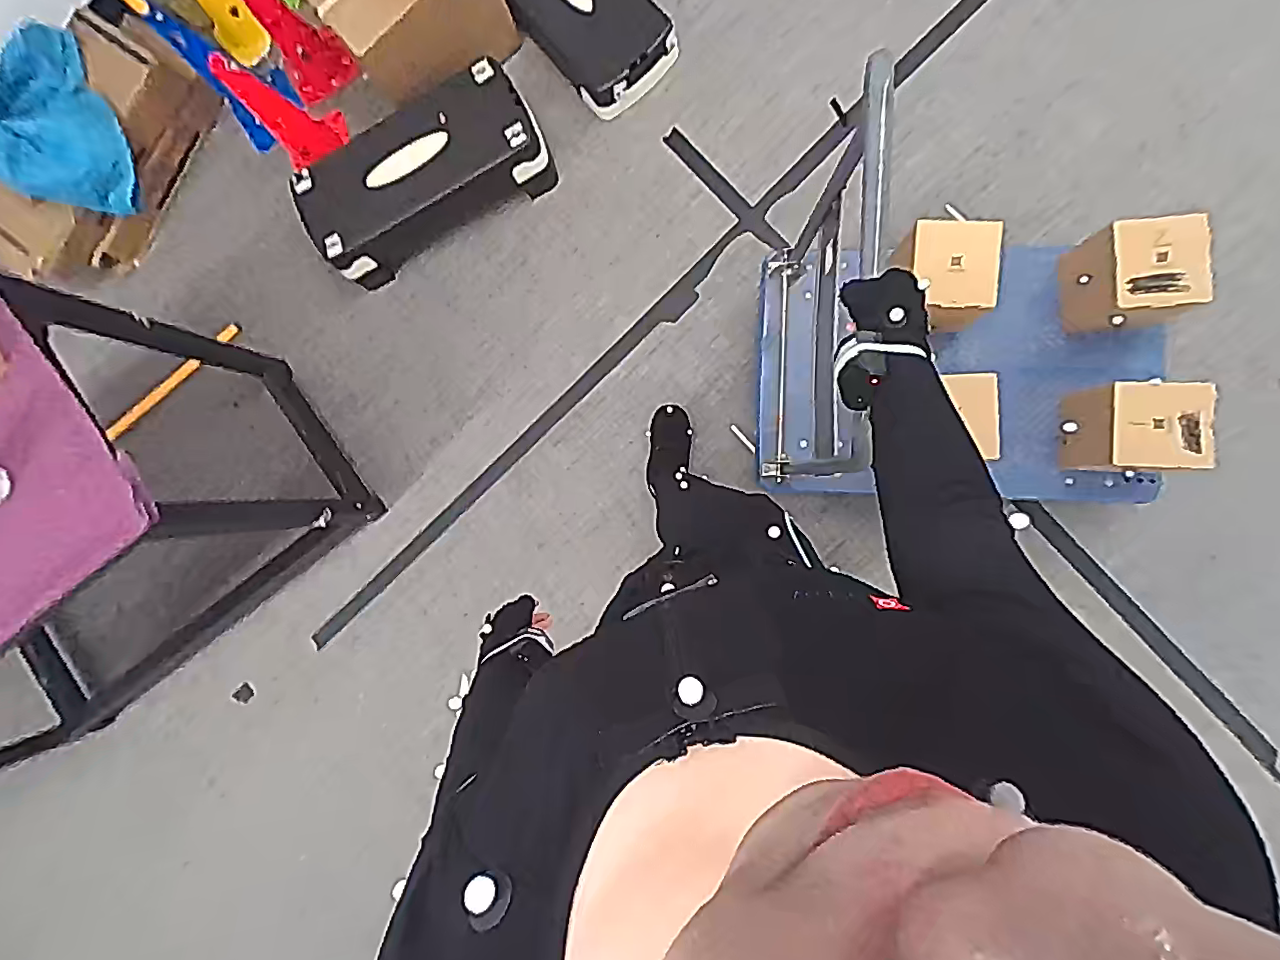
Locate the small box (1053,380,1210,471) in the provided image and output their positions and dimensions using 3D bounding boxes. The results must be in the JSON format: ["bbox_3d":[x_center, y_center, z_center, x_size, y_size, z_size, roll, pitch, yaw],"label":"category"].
[{"bbox_3d":[1.006,-0.107,1.118,0.179,0.176,0.168,3,89,8],"label":"small box"}]

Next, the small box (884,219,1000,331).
[{"bbox_3d":[0.642,-0.437,1.168,0.168,0.176,0.179,4,90,7],"label":"small box"}]

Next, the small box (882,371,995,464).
[{"bbox_3d":[0.632,-0.128,1.162,0.168,0.176,0.179,0,89,7],"label":"small box"}]
